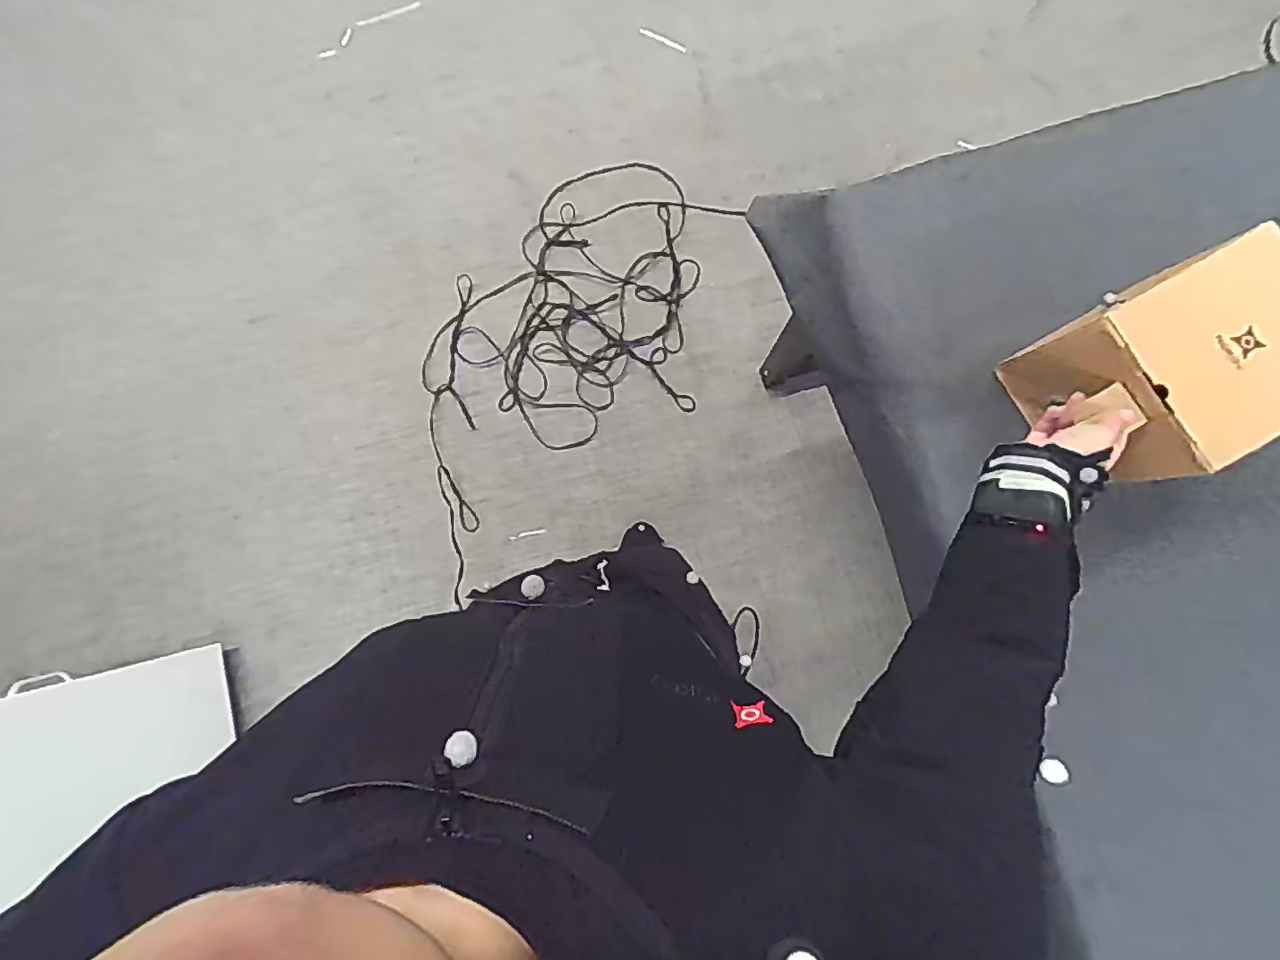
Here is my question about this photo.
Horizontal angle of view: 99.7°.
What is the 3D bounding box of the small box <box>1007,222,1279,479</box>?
[{"bbox_3d":[0.537,-0.114,0.554,0.179,0.176,0.168,-31,85,0],"label":"small box"}]
